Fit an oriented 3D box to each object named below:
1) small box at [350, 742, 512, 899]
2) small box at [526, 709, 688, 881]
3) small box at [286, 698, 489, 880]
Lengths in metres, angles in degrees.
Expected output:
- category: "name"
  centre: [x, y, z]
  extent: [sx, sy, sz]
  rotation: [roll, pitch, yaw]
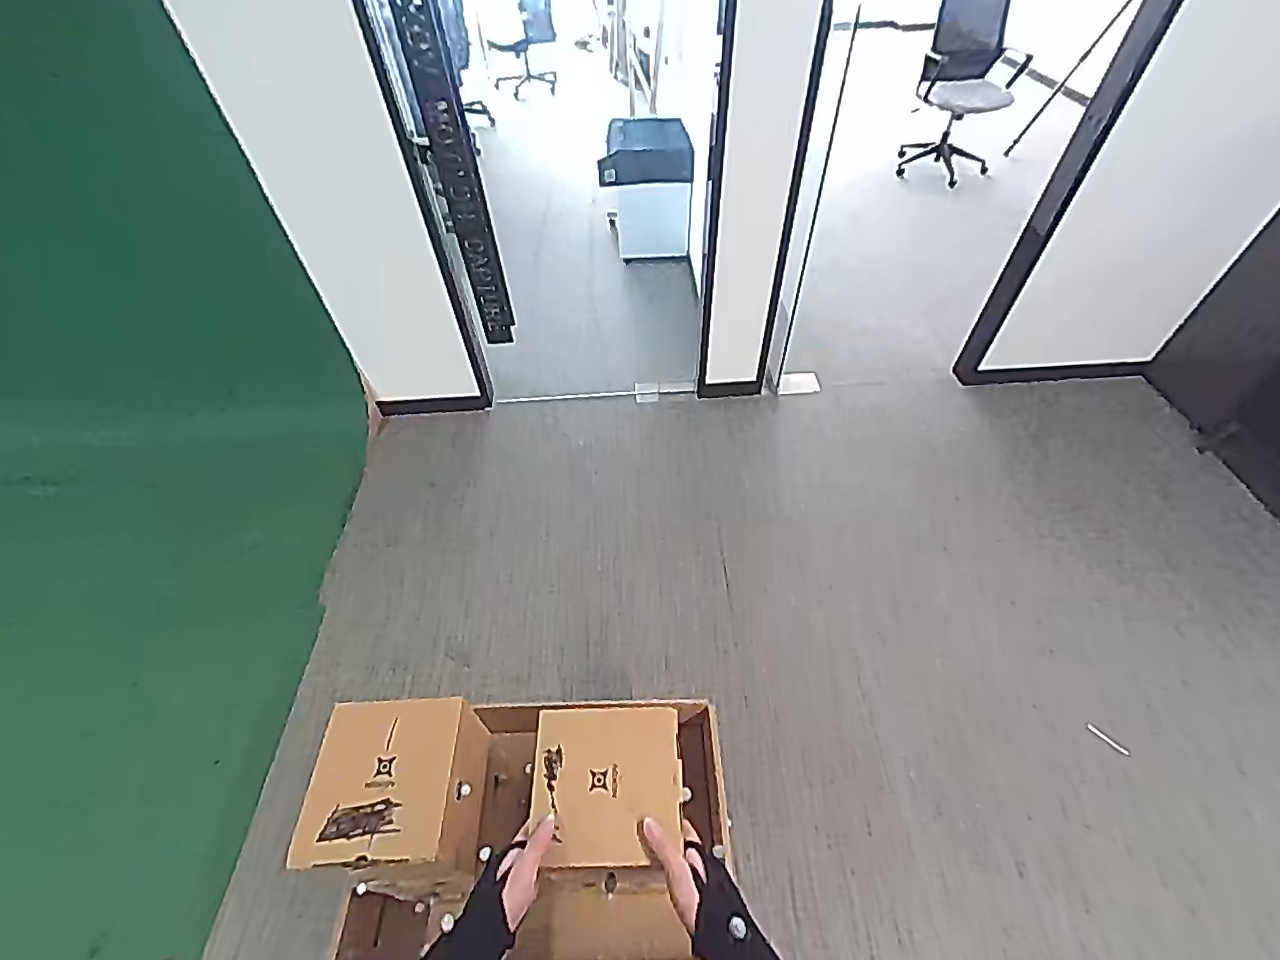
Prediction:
- category: "small box"
  centre: [-0.294, 0.510, 0.809]
  extent: [0.168, 0.176, 0.179]
  rotation: [-1, 49, 0]
- category: "small box"
  centre: [-0.037, 0.402, 0.688]
  extent: [0.179, 0.176, 0.168]
  rotation: [0, 50, -1]
- category: "small box"
  centre: [-0.299, 0.397, 0.690]
  extent: [0.168, 0.176, 0.179]
  rotation: [-2, 48, -2]
